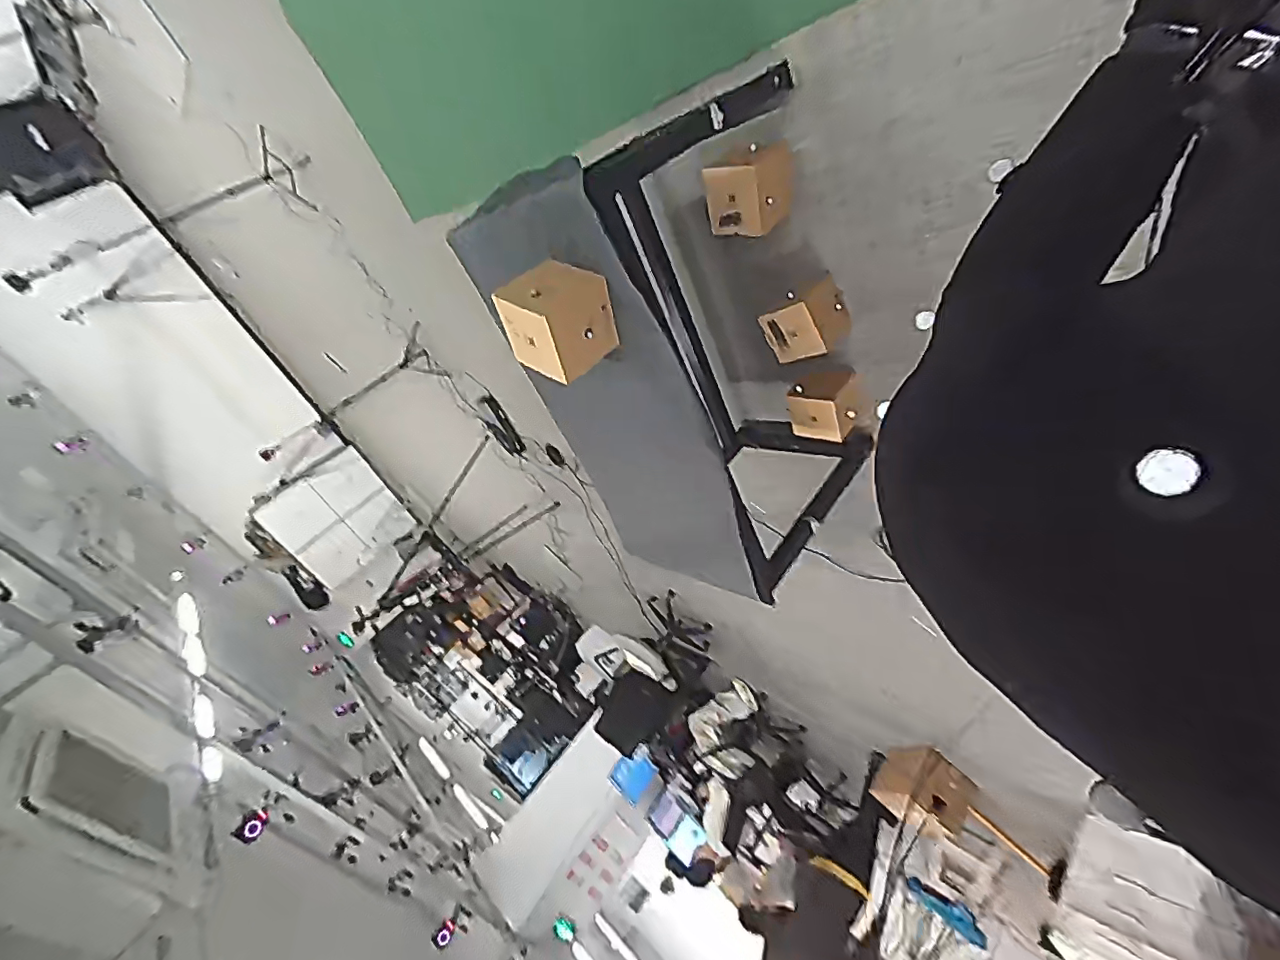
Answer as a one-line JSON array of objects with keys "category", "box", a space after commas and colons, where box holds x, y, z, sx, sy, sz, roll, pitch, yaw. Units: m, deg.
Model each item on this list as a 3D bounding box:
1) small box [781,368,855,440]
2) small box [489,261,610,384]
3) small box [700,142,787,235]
[{"category": "small box", "box": [0.603, -0.259, 1.809, 0.179, 0.176, 0.168, 16, 143, 44]}, {"category": "small box", "box": [-0.178, -0.339, 1.142, 0.179, 0.176, 0.168, 30, 150, 31]}, {"category": "small box", "box": [0.288, -0.795, 1.474, 0.168, 0.176, 0.179, 22, 144, 36]}]
